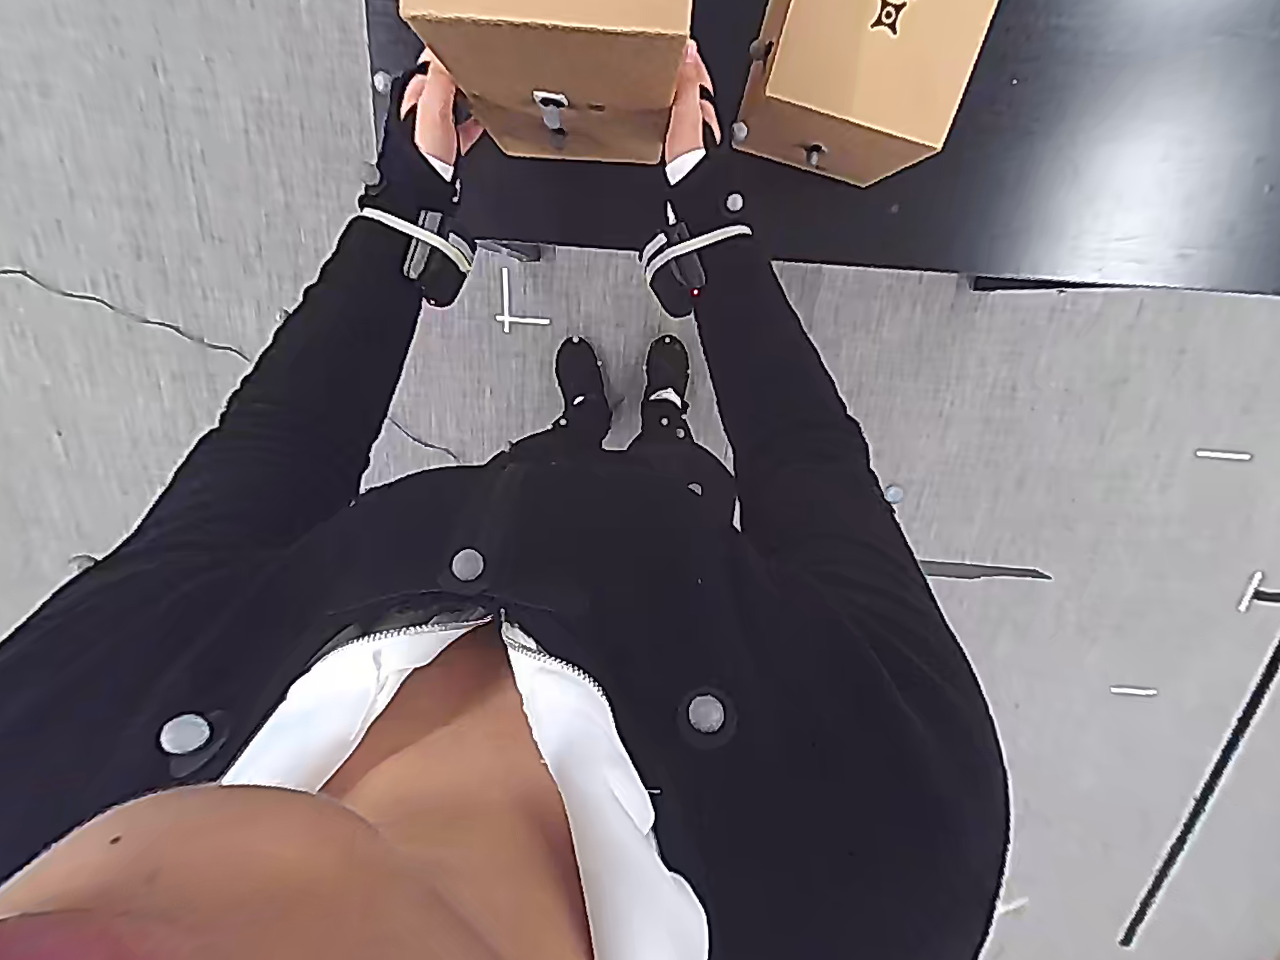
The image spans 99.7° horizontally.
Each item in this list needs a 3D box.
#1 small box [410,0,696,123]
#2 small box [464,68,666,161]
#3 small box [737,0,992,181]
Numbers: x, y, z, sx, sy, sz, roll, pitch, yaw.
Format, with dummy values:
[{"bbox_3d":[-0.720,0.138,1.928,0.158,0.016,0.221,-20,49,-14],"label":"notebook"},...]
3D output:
[{"bbox_3d":[-0.048,-0.368,0.359,0.168,0.176,0.179,2,109,-2],"label":"small box"},{"bbox_3d":[-0.059,-0.419,0.515,0.179,0.176,0.168,2,108,-1],"label":"small box"},{"bbox_3d":[0.203,-0.414,0.521,0.168,0.176,0.179,14,107,-6],"label":"small box"}]
